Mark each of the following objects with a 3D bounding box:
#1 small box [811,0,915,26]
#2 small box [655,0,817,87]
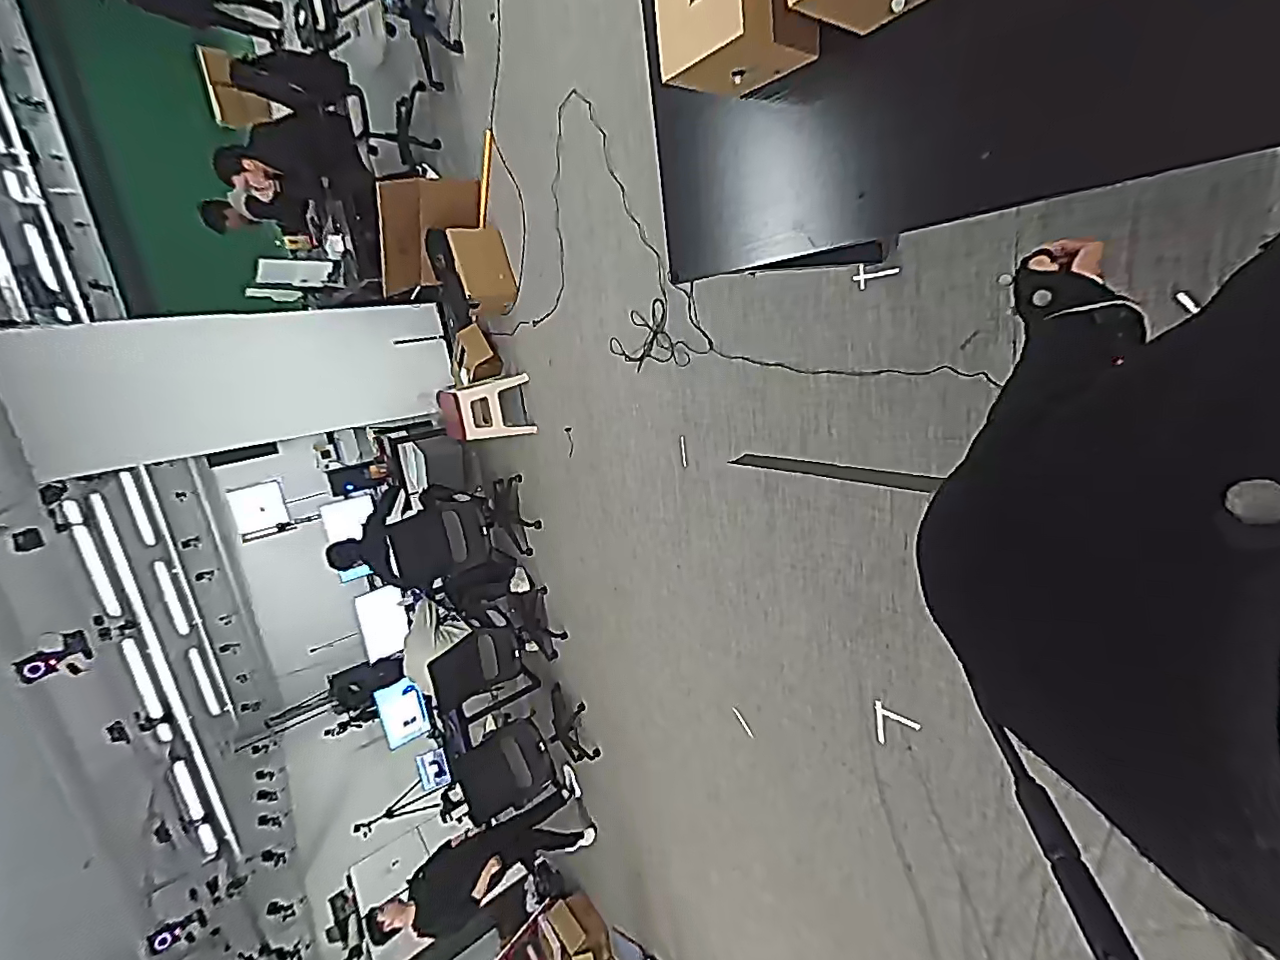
[{"bbox_3d":[0.274,-0.659,0.601,0.168,0.176,0.179,10,115,52],"label":"small box"},{"bbox_3d":[0.138,-0.695,0.777,0.168,0.176,0.179,16,117,50],"label":"small box"}]
